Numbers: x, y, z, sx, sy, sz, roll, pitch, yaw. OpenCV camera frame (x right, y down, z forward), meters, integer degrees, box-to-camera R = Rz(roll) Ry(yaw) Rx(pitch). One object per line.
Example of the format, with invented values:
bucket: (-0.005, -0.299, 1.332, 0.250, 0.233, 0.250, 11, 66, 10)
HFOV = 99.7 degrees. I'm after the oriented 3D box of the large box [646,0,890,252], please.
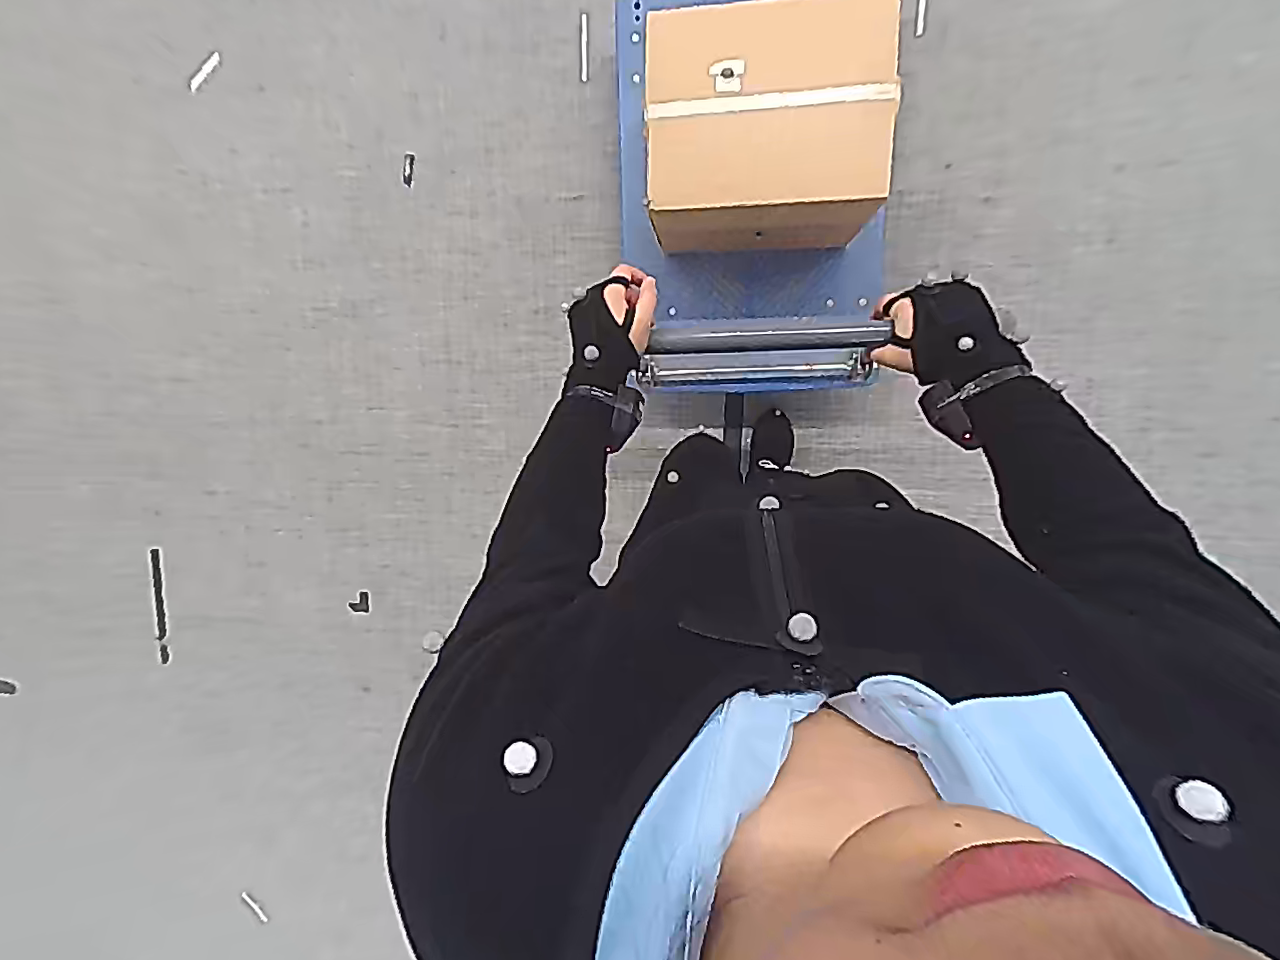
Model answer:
large box: (0.235, -0.655, 1.062, 0.408, 0.320, 0.320, 0, 98, 9)
